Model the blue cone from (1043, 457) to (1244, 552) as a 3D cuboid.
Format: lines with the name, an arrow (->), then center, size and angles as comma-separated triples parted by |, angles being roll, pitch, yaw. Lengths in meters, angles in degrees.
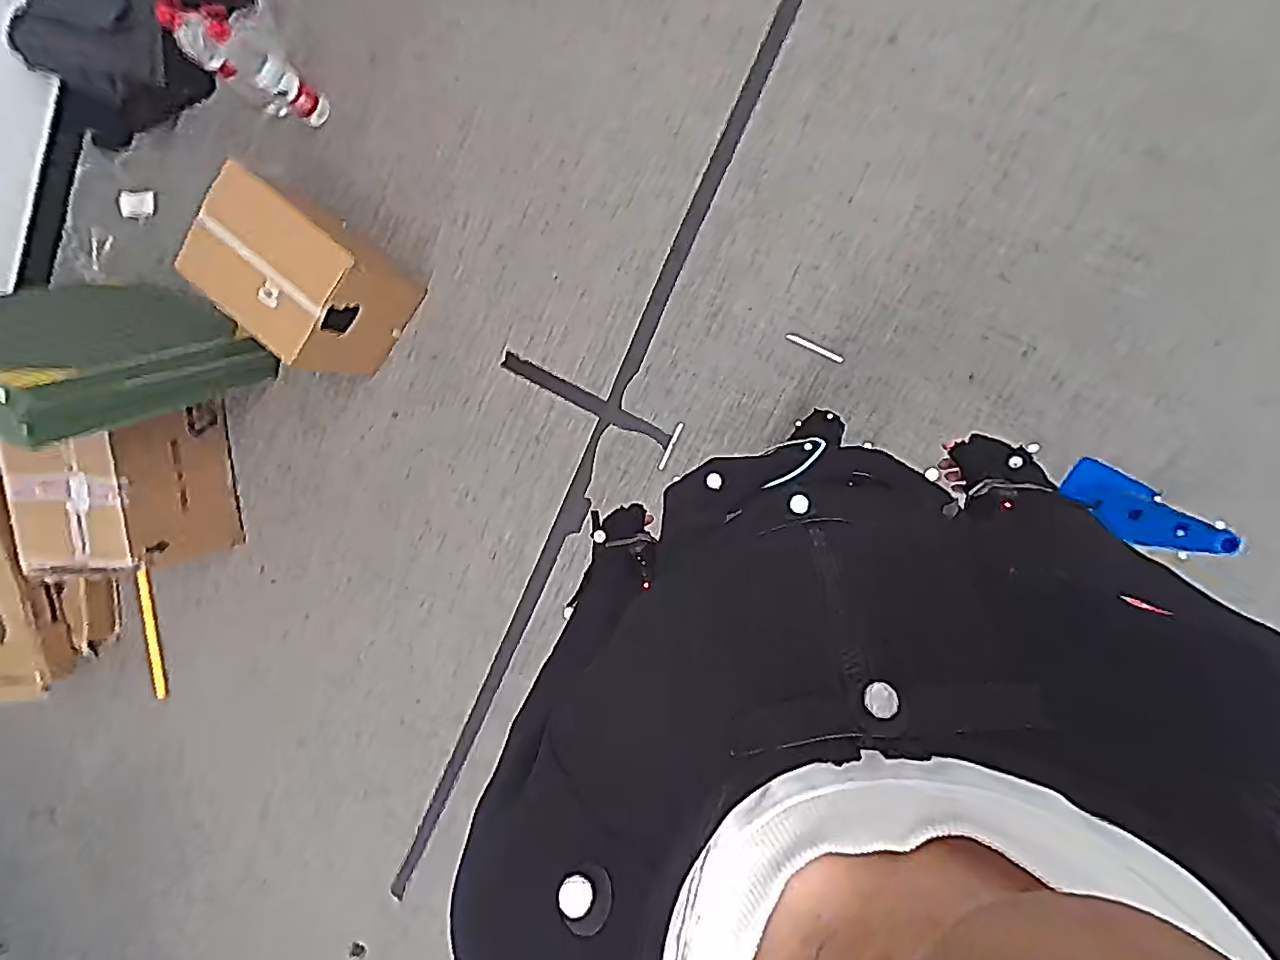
blue cone -> 1.049, 0.076, 1.114 | 0.193, 0.380, 0.192 | 31, 100, 6
